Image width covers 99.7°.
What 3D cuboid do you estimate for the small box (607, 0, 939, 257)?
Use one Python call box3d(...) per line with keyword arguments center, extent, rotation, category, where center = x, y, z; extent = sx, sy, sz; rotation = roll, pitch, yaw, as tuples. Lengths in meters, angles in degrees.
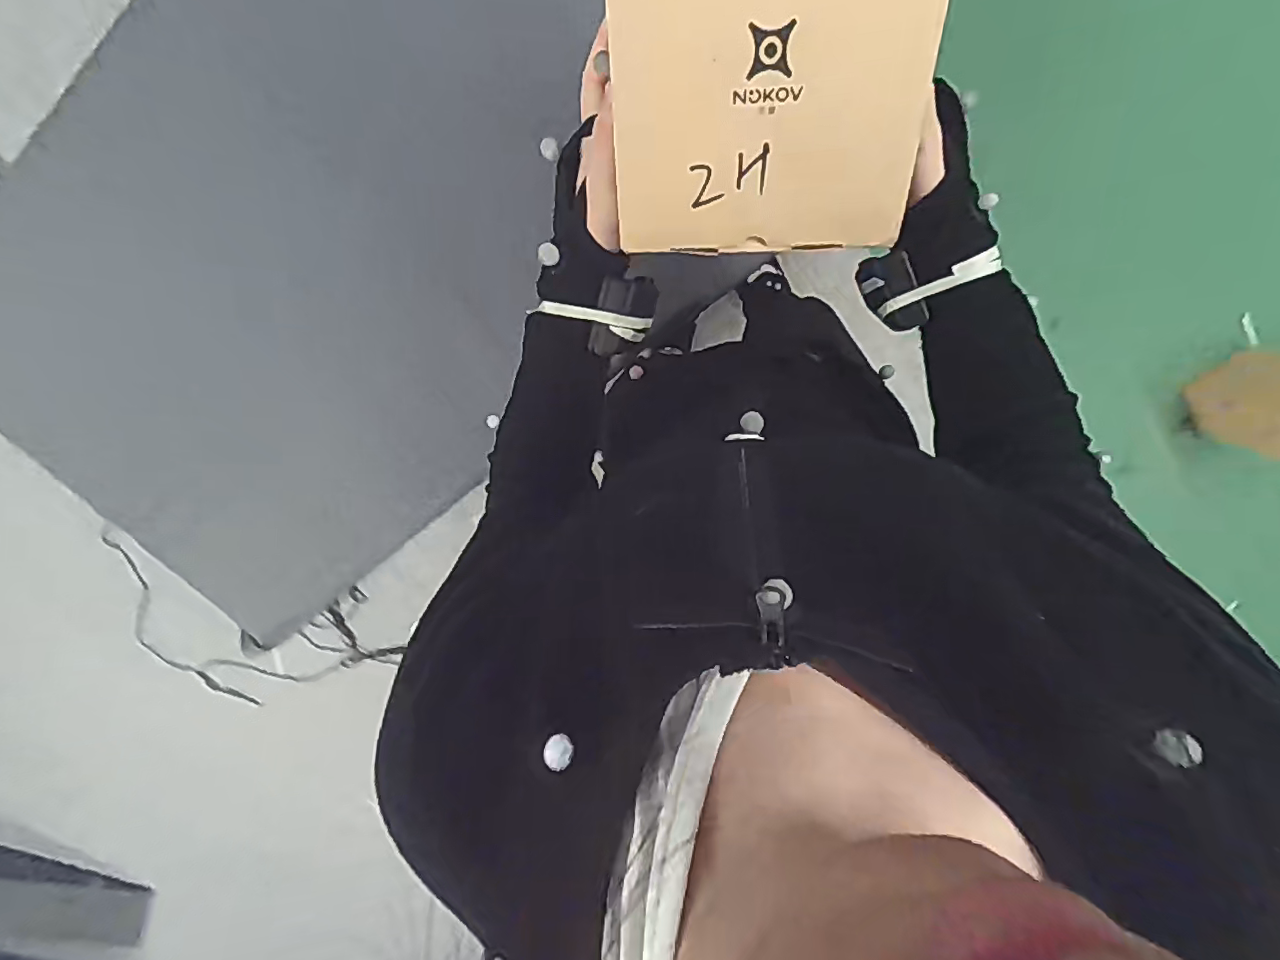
box3d(center=(0.075, -0.254, 0.353), extent=(0.168, 0.176, 0.179), rotation=(3, 124, 9), category="small box")
